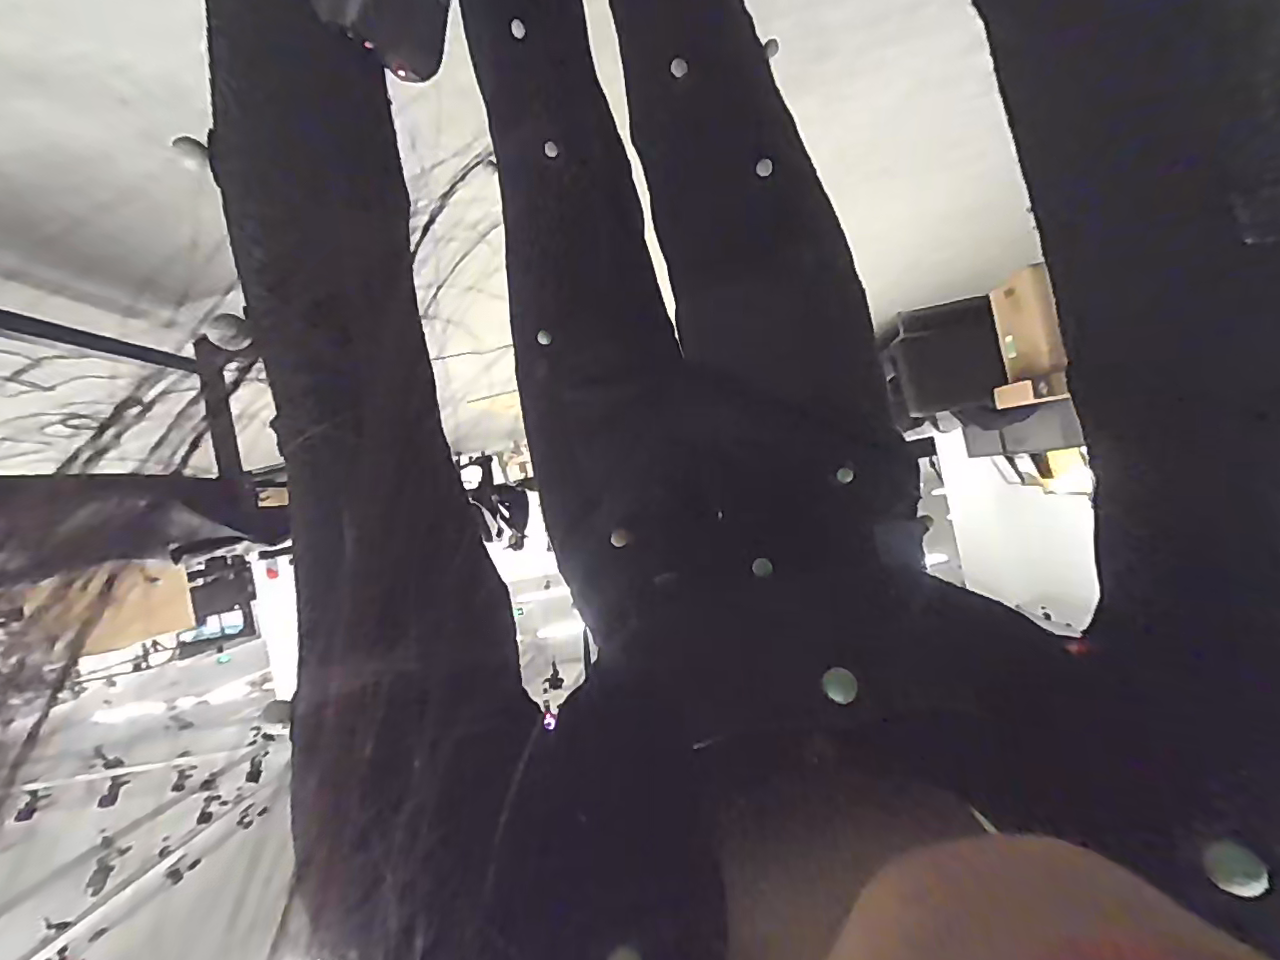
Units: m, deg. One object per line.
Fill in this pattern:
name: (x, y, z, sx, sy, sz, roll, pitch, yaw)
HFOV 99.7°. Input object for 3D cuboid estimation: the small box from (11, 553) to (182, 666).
small box: (-1.065, 0.245, 1.065, 0.179, 0.176, 0.168, -12, 180, 1)
